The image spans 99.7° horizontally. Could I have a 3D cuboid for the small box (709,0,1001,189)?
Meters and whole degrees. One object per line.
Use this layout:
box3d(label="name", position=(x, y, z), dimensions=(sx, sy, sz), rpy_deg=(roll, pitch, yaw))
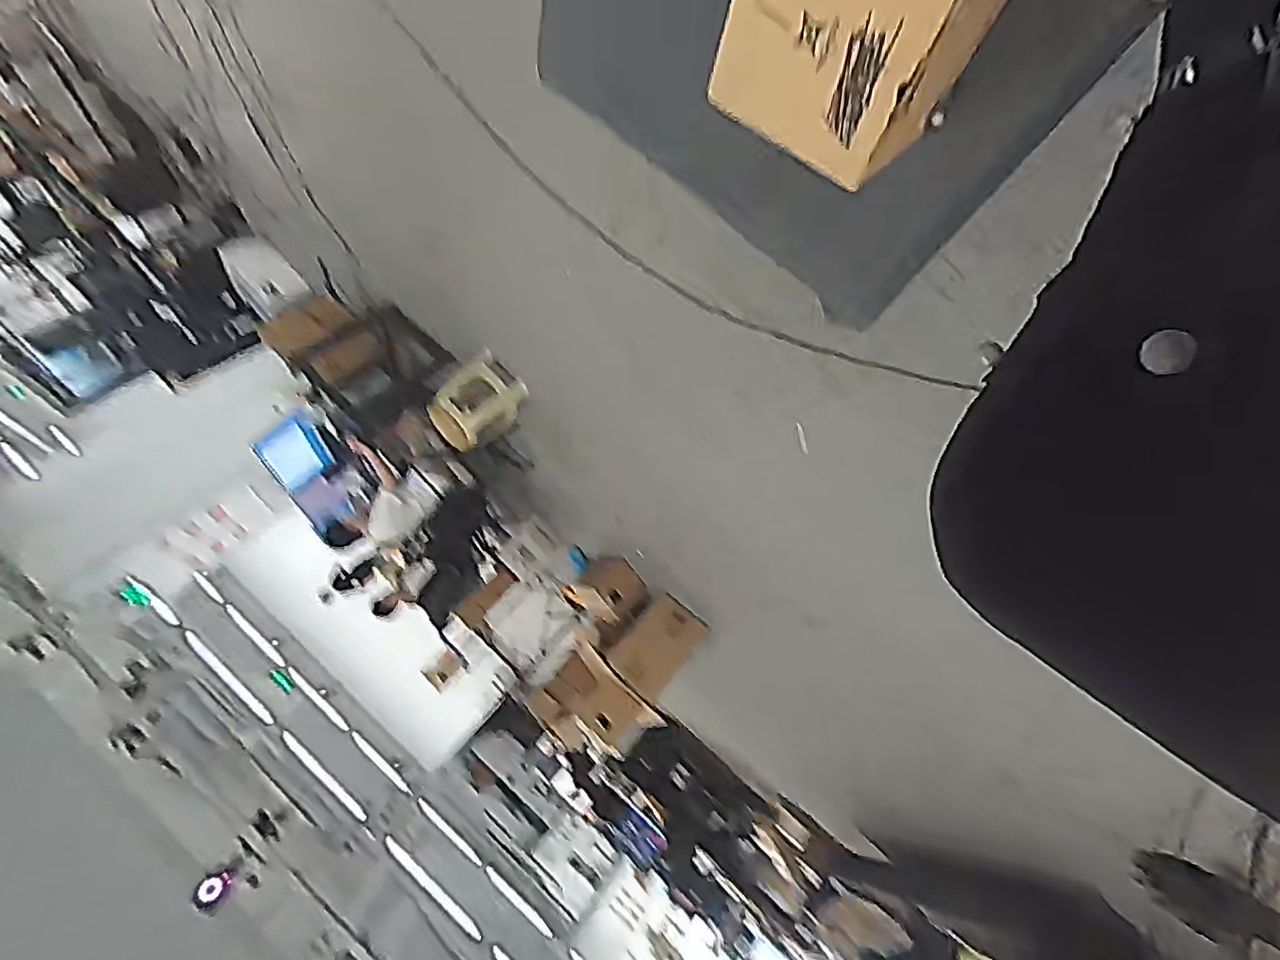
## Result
box3d(label="small box", position=(0.198, -0.409, 0.485), dimensions=(0.179, 0.176, 0.168), rpy_deg=(41, 151, 11))
